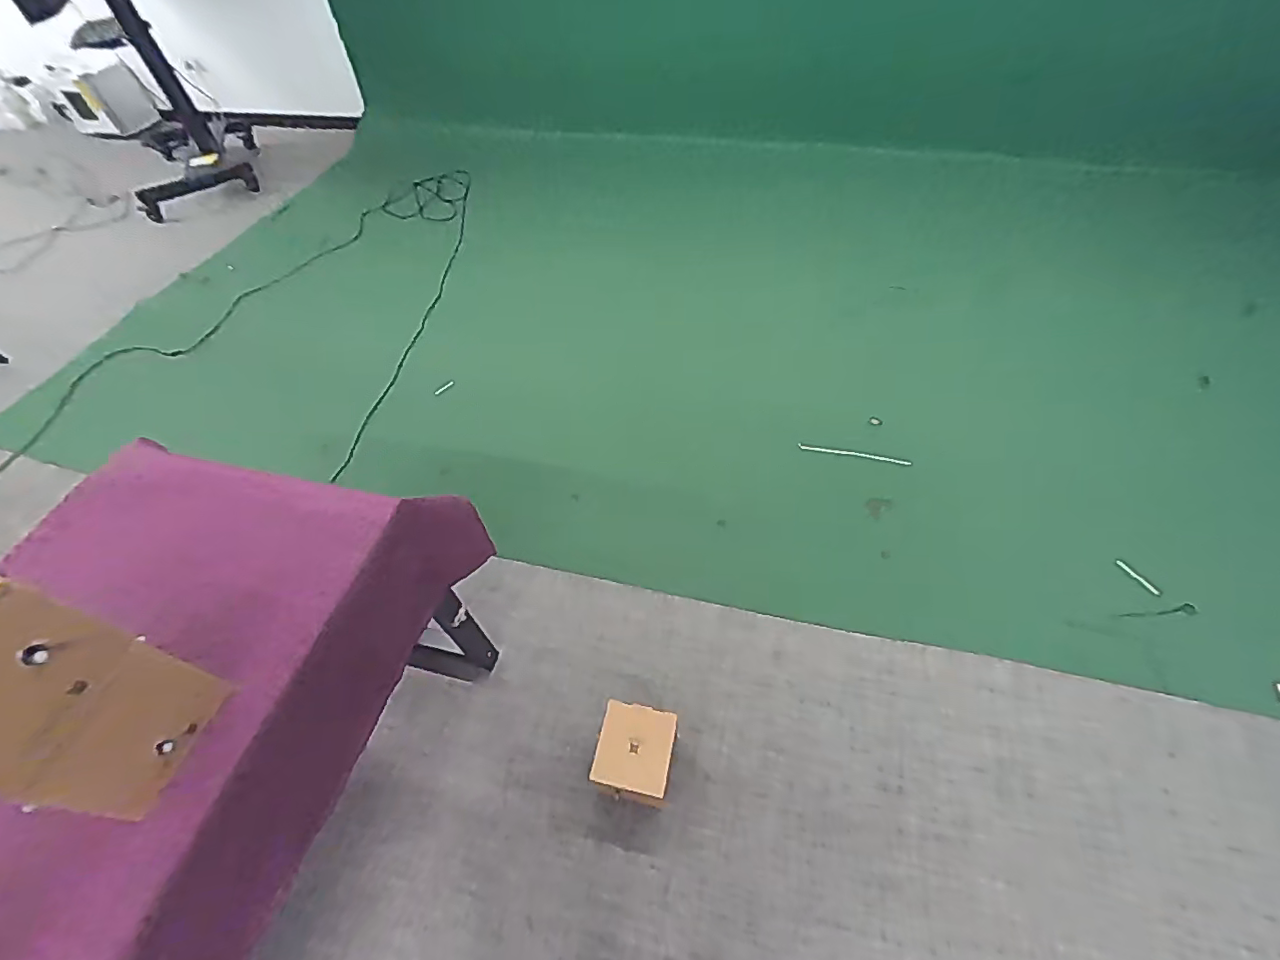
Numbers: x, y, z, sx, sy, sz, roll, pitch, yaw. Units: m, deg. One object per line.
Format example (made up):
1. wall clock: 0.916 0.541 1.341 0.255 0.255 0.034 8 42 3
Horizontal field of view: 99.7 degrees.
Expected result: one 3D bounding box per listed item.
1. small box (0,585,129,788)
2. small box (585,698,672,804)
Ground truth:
1. small box: -0.674 0.188 0.521 0.179 0.176 0.168 10 54 11
2. small box: -0.018 0.639 1.267 0.168 0.176 0.179 9 53 9
